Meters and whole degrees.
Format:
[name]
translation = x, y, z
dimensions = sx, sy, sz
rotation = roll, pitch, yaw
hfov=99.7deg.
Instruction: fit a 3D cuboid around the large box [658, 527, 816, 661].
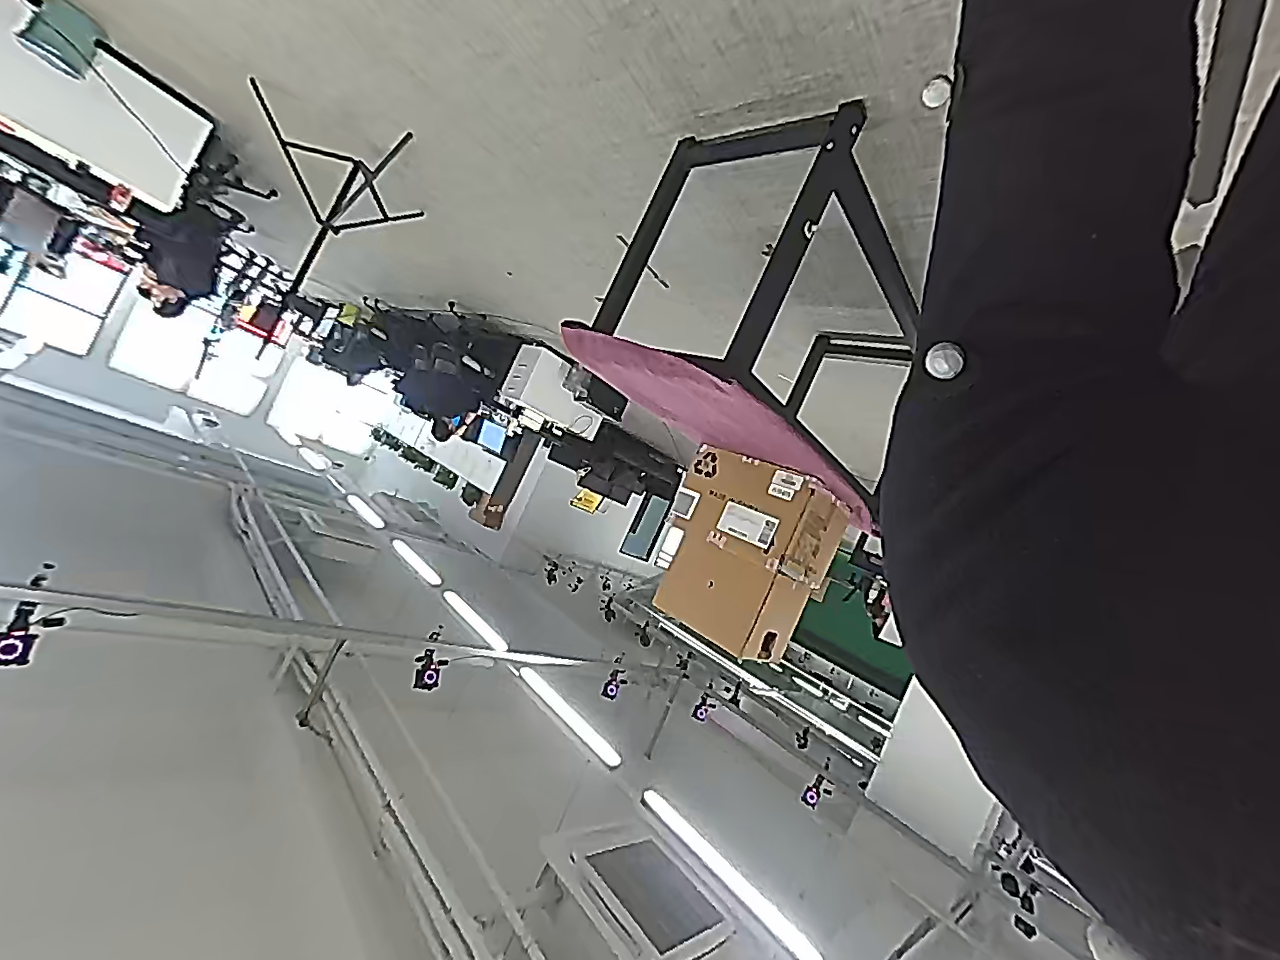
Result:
[large box]
translation = 0.343, 0.400, 1.935
dimensions = 0.408, 0.320, 0.320
rotation = 21, 177, 44
